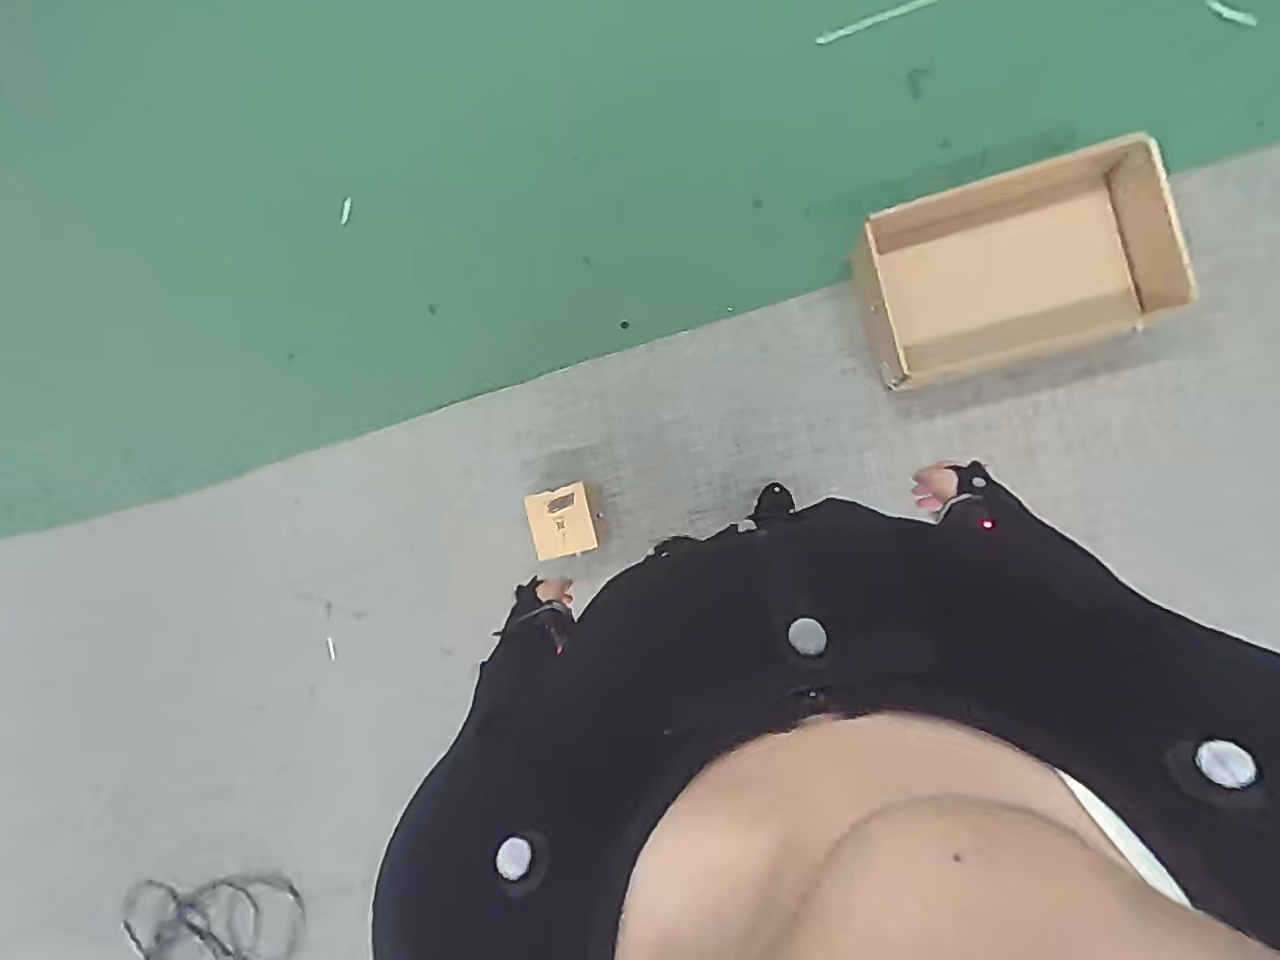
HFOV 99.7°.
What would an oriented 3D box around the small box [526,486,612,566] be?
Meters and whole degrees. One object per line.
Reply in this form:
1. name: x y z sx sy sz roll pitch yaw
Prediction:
1. small box: -0.185 0.120 1.452 0.168 0.176 0.179 -15 88 8
